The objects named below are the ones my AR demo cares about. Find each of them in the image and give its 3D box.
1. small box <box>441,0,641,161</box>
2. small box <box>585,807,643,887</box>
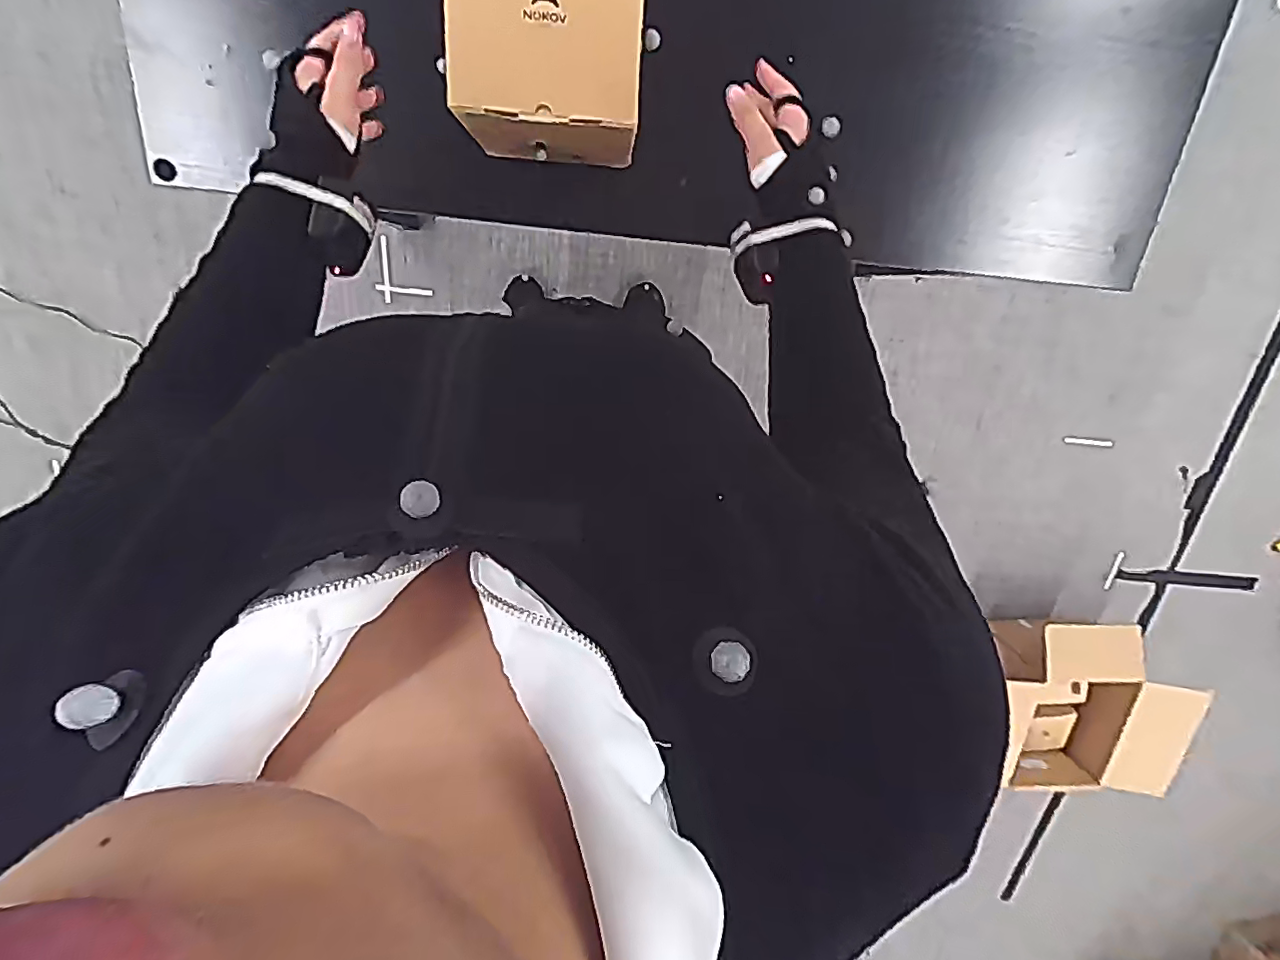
[{"bbox_3d":[-0.087,-0.430,0.520,0.168,0.176,0.179,2,110,-5],"label":"small box"},{"bbox_3d":[-0.092,1.270,1.876,0.179,0.176,0.168,7,108,-5],"label":"small box"}]
